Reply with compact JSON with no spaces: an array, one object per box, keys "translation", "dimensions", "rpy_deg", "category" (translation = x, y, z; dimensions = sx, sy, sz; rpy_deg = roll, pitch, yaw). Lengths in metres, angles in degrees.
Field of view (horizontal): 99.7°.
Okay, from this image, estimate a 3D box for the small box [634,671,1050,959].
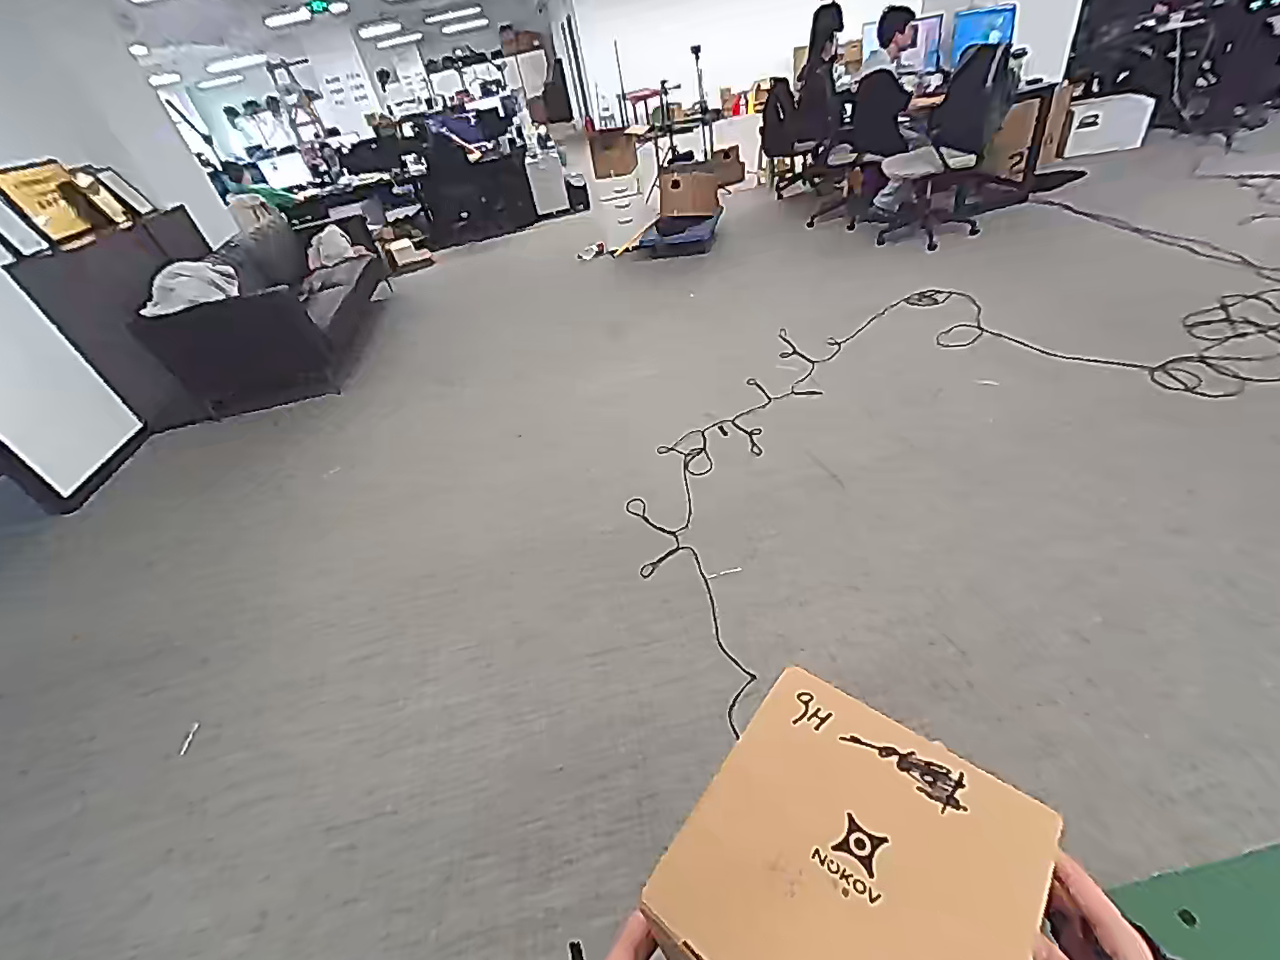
[{"translation":[0.123,0.271,0.348],"dimensions":[0.168,0.176,0.179],"rpy_deg":[23,50,34],"category":"small box"}]
